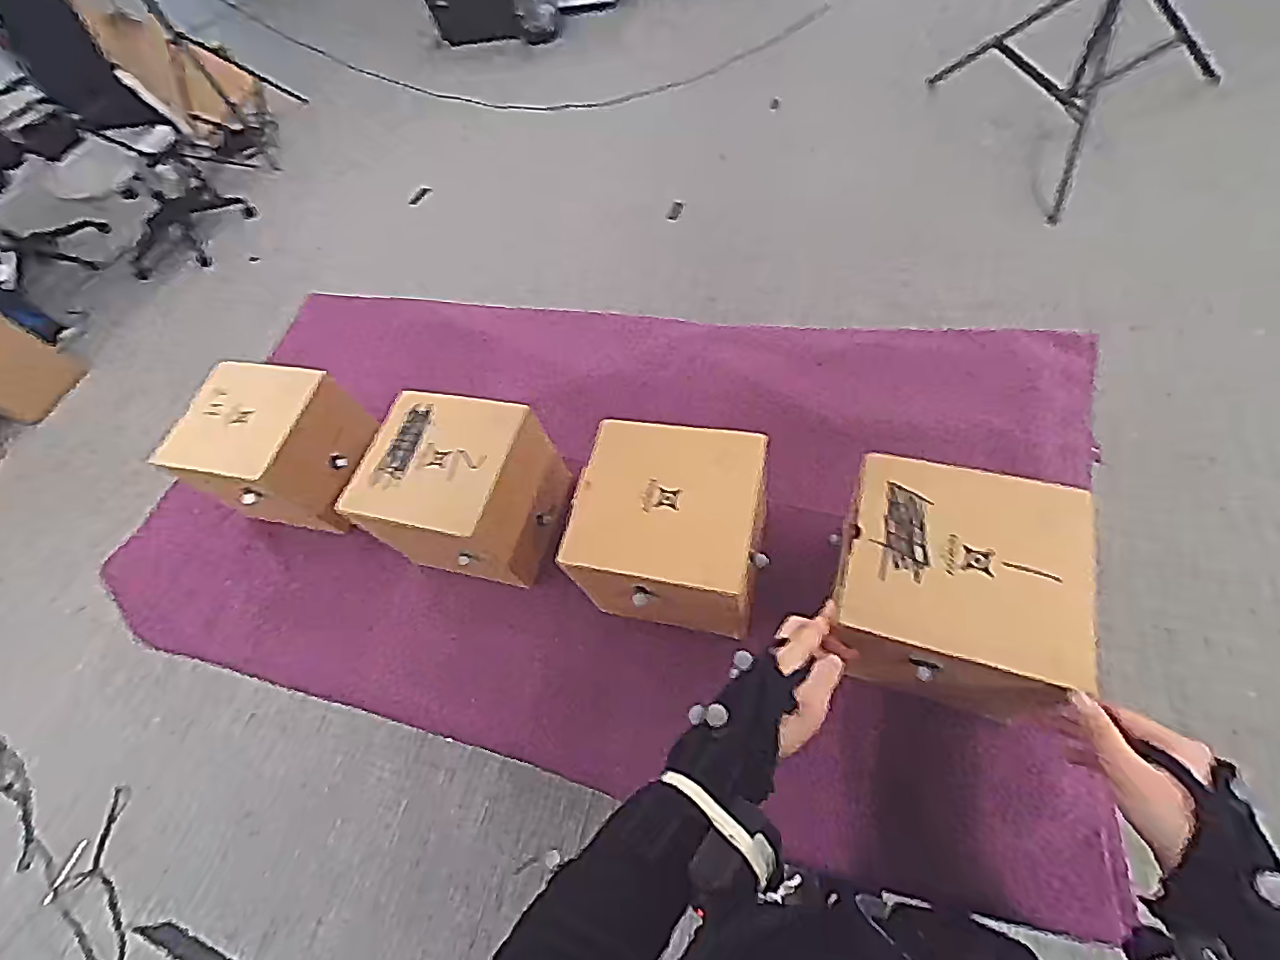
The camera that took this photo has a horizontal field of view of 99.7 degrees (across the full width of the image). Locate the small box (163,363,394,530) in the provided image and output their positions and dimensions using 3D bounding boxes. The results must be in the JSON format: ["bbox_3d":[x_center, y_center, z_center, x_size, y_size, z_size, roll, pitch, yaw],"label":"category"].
[{"bbox_3d":[-0.490,-0.041,0.766,0.179,0.176,0.168,8,63,15],"label":"small box"}]

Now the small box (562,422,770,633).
[{"bbox_3d":[0.043,0.058,0.592,0.179,0.176,0.168,7,63,17],"label":"small box"}]
